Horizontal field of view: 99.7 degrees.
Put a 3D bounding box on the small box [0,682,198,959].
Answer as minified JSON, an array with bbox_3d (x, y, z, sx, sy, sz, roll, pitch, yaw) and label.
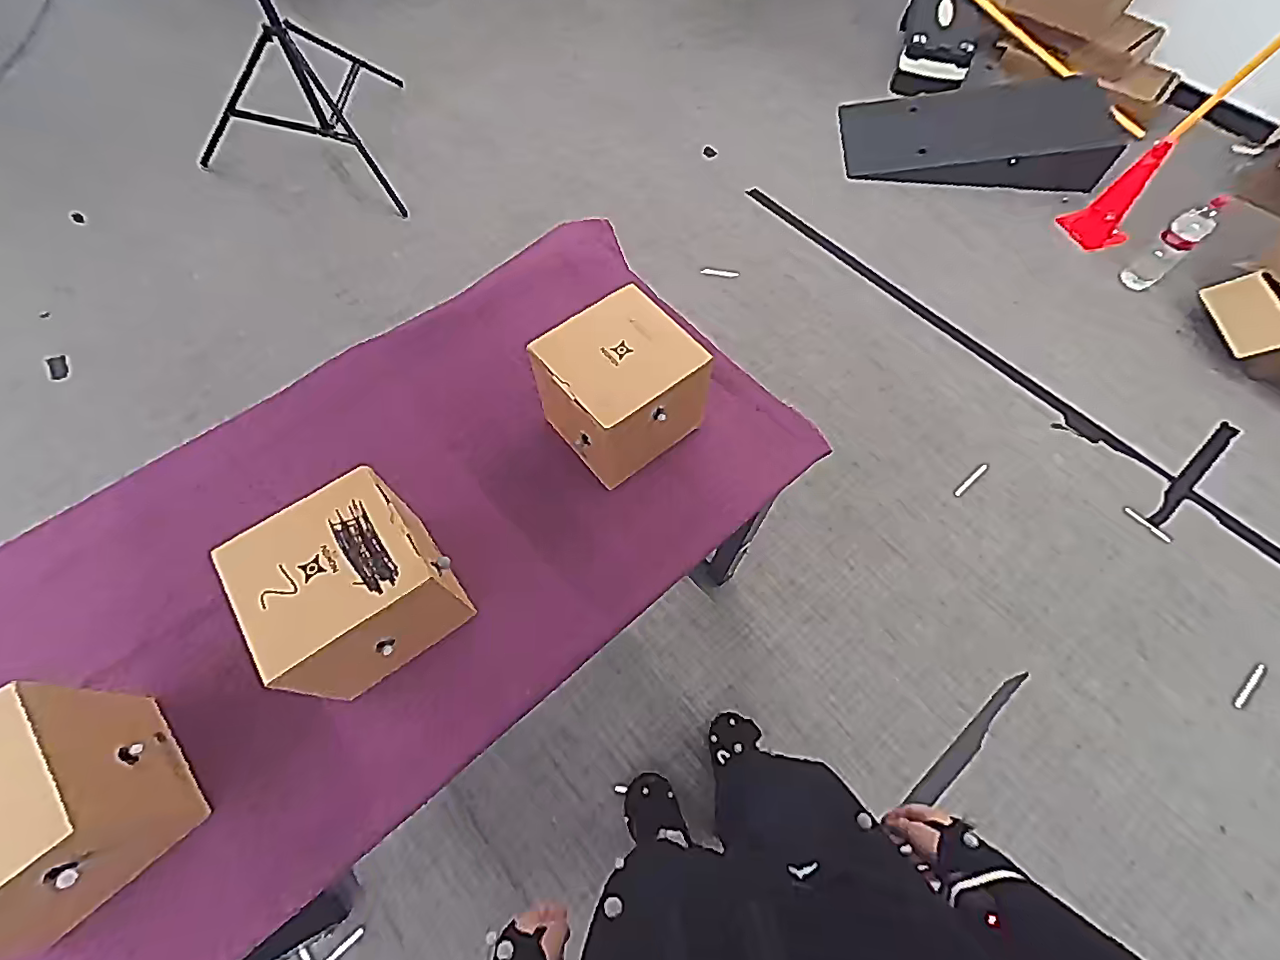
[{"bbox_3d":[-0.581,0.326,0.520,0.179,0.176,0.168,-40,69,-18],"label":"small box"}]

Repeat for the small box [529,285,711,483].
[{"bbox_3d":[-0.025,-0.126,0.752,0.179,0.176,0.168,-36,70,-17],"label":"small box"}]
